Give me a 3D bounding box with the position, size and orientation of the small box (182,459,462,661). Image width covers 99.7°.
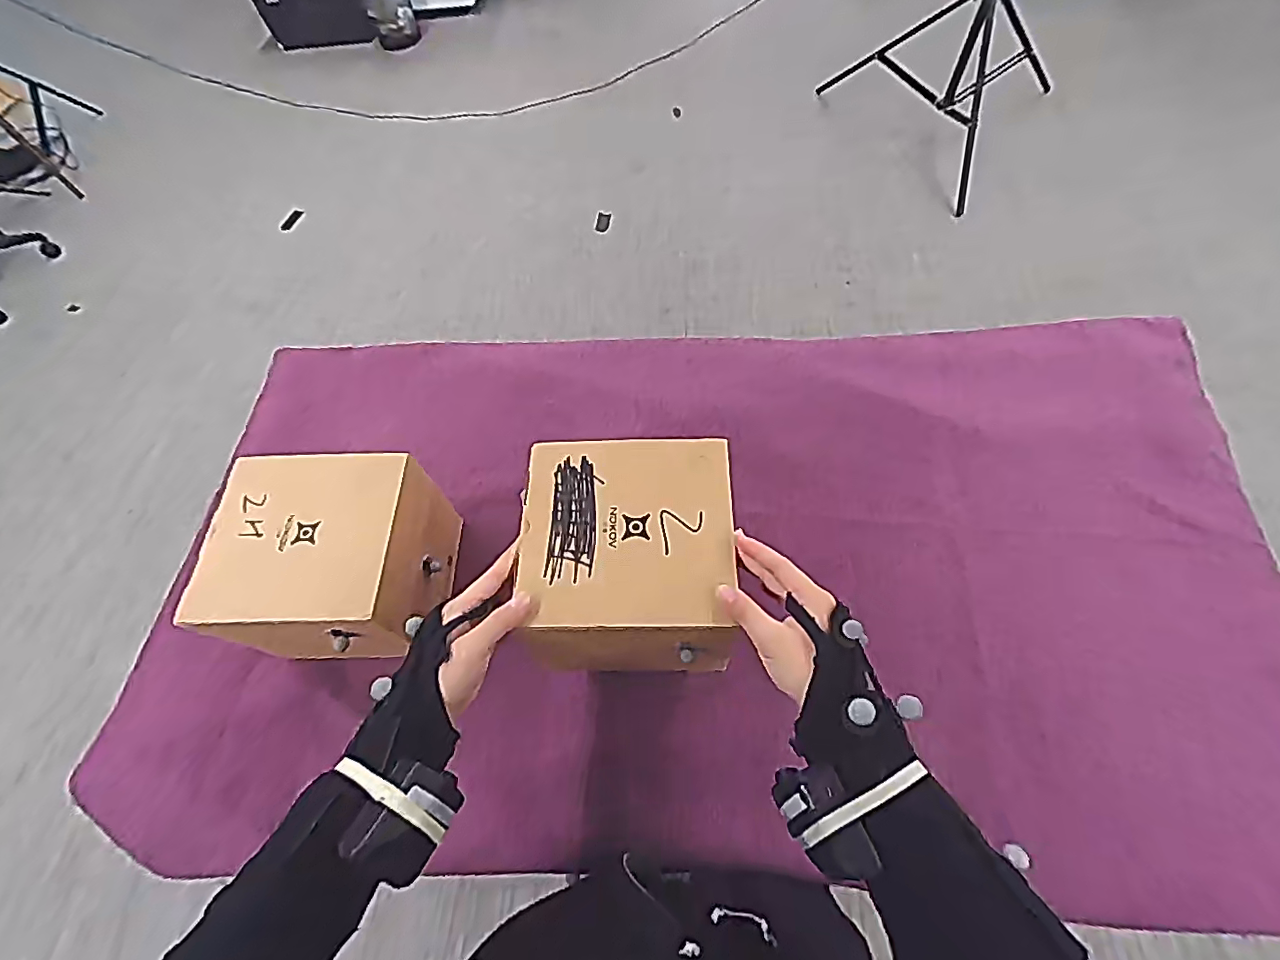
[{"bbox_3d":[-0.305,0.090,0.569,0.179,0.176,0.168,-1,61,2],"label":"small box"}]
